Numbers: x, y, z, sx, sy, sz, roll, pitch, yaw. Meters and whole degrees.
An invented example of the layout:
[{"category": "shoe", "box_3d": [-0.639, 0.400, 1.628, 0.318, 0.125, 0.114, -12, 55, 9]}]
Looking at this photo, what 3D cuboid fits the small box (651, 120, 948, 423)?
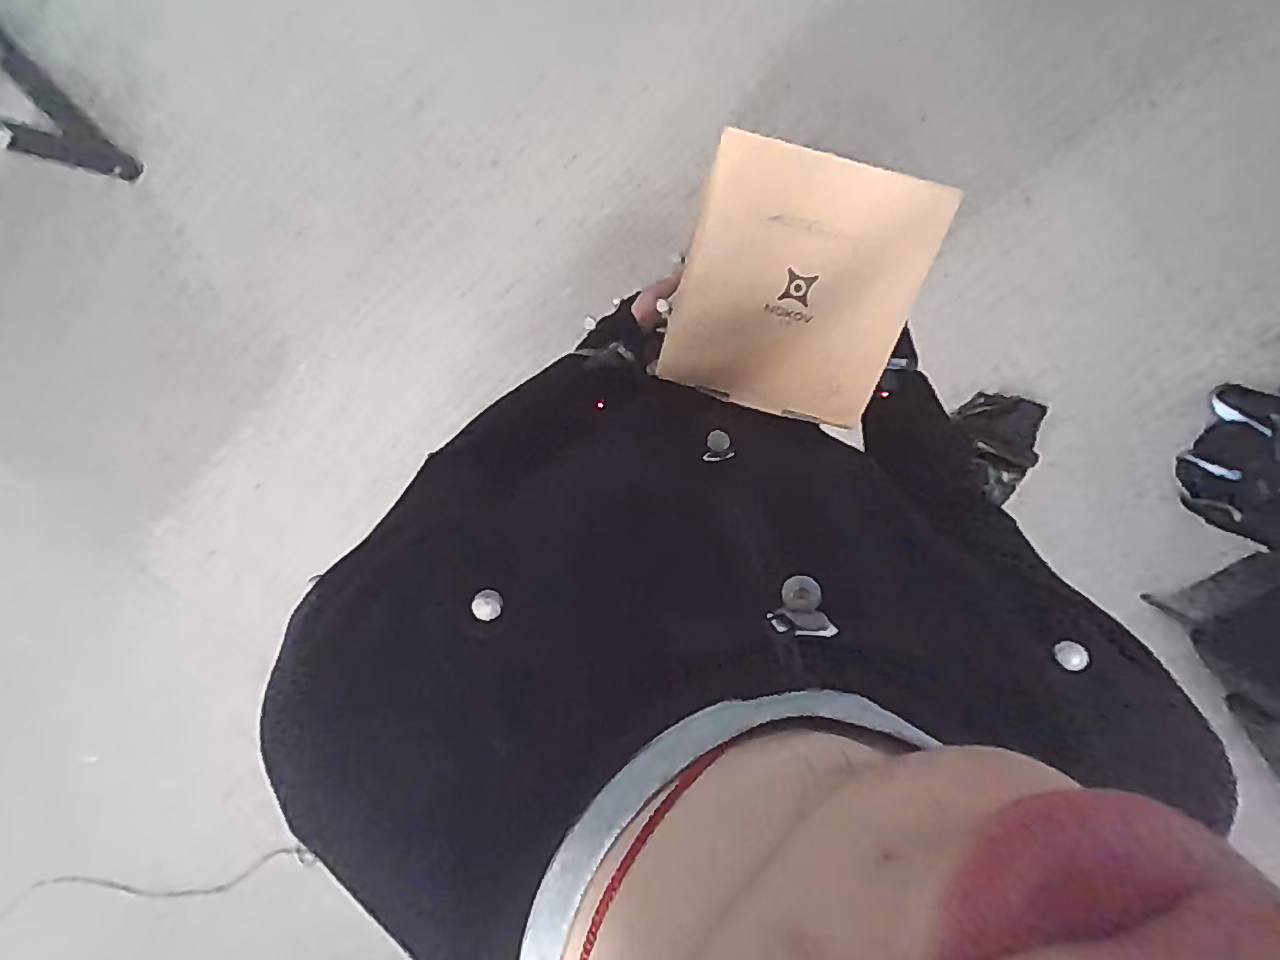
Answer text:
[{"category": "small box", "box_3d": [0.113, -0.173, 0.460, 0.168, 0.176, 0.179, 13, 115, -2]}]
